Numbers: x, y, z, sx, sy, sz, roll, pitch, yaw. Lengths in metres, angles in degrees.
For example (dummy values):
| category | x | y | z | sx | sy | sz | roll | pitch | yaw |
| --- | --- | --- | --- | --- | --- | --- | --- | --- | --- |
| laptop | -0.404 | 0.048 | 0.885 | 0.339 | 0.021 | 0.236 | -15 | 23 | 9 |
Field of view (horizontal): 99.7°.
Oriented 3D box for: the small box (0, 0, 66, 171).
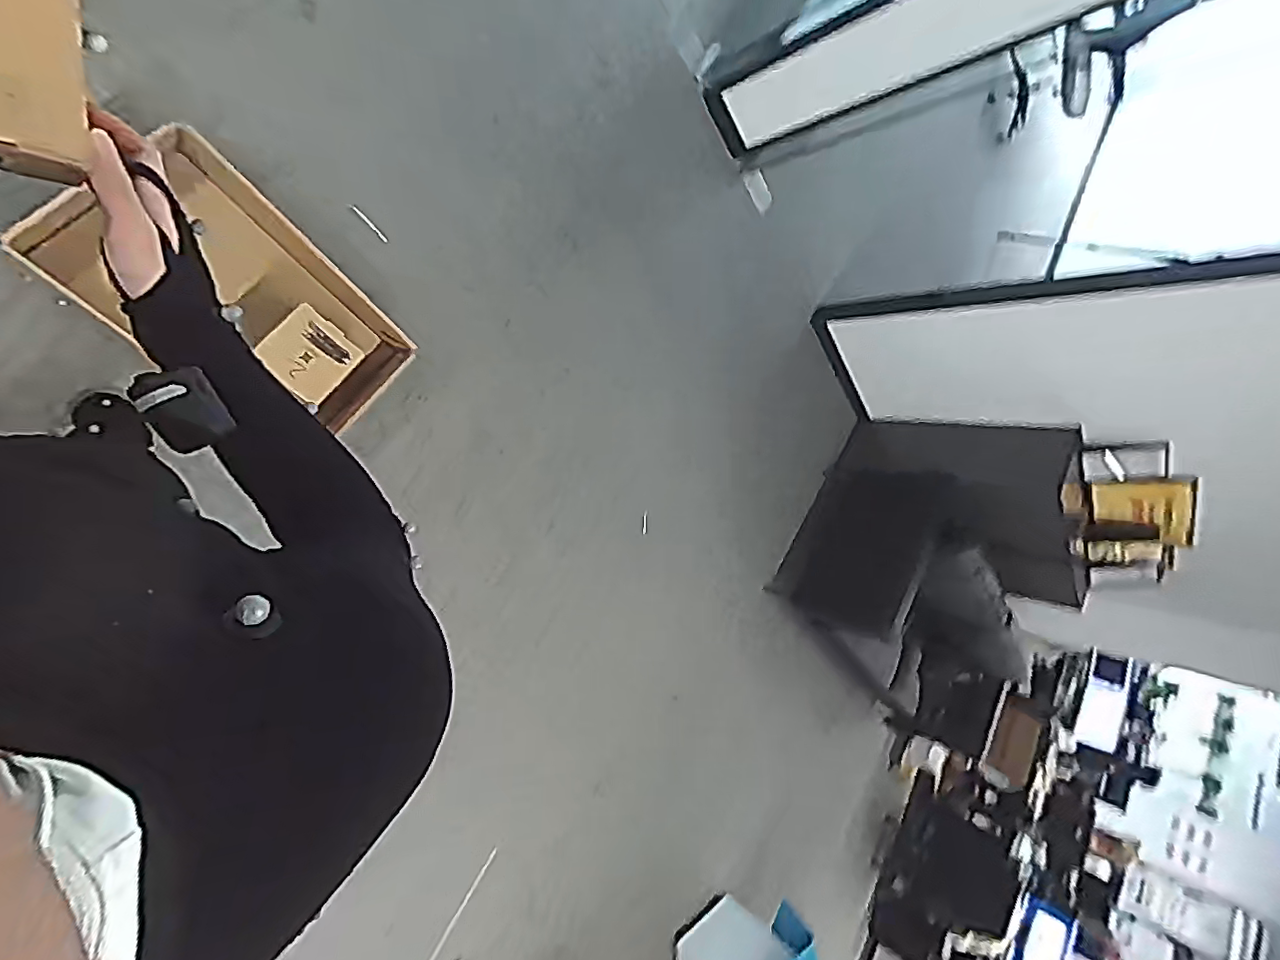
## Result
| category | x | y | z | sx | sy | sz | roll | pitch | yaw |
| --- | --- | --- | --- | --- | --- | --- | --- | --- | --- |
| small box | -0.449 | -0.298 | 0.306 | 0.168 | 0.176 | 0.179 | -5 | 109 | -47 |
